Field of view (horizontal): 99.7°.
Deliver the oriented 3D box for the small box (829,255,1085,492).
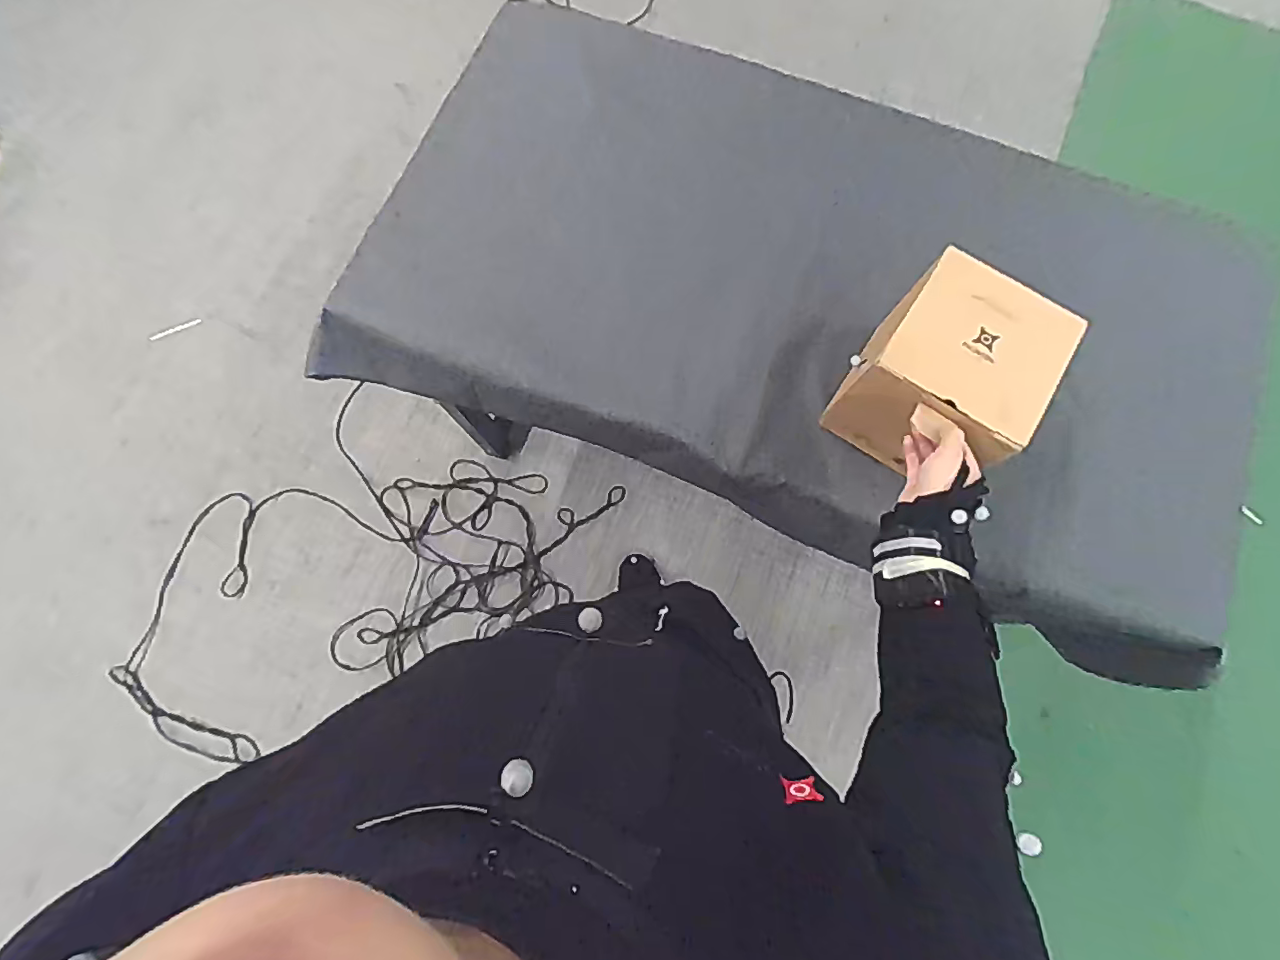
[{"bbox_3d":[0.345,-0.109,0.627,0.168,0.176,0.179,33,75,6],"label":"small box"}]
